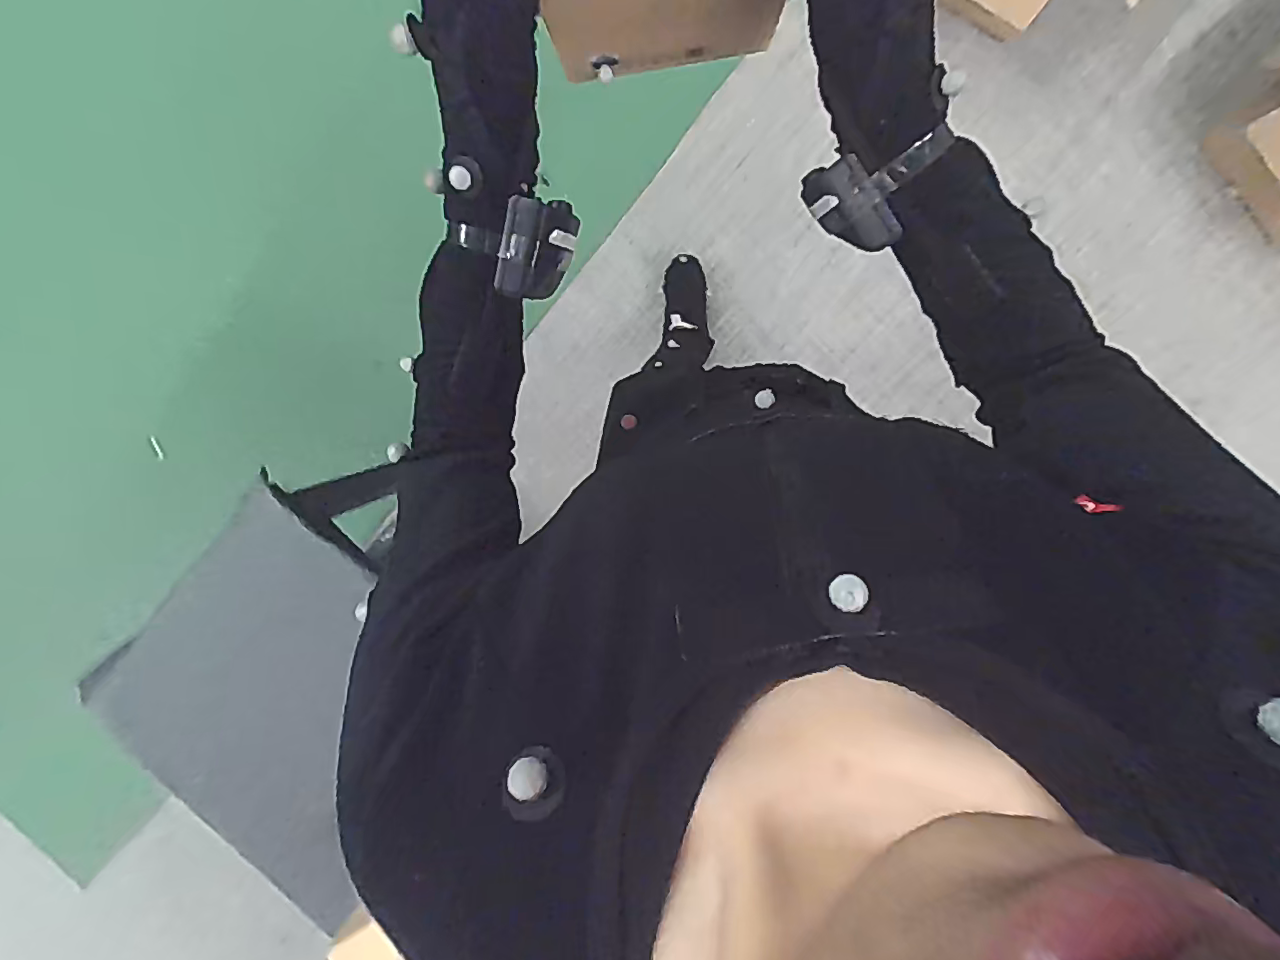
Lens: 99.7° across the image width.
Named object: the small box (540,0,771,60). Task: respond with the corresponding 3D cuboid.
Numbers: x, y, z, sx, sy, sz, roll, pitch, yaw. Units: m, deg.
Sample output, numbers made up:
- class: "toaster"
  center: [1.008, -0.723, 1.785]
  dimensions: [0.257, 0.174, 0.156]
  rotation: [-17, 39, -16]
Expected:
- class: "small box"
  center: [0.006, -0.405, 0.343]
  dimensions: [0.168, 0.176, 0.179]
  rotation: [-5, 104, 4]
